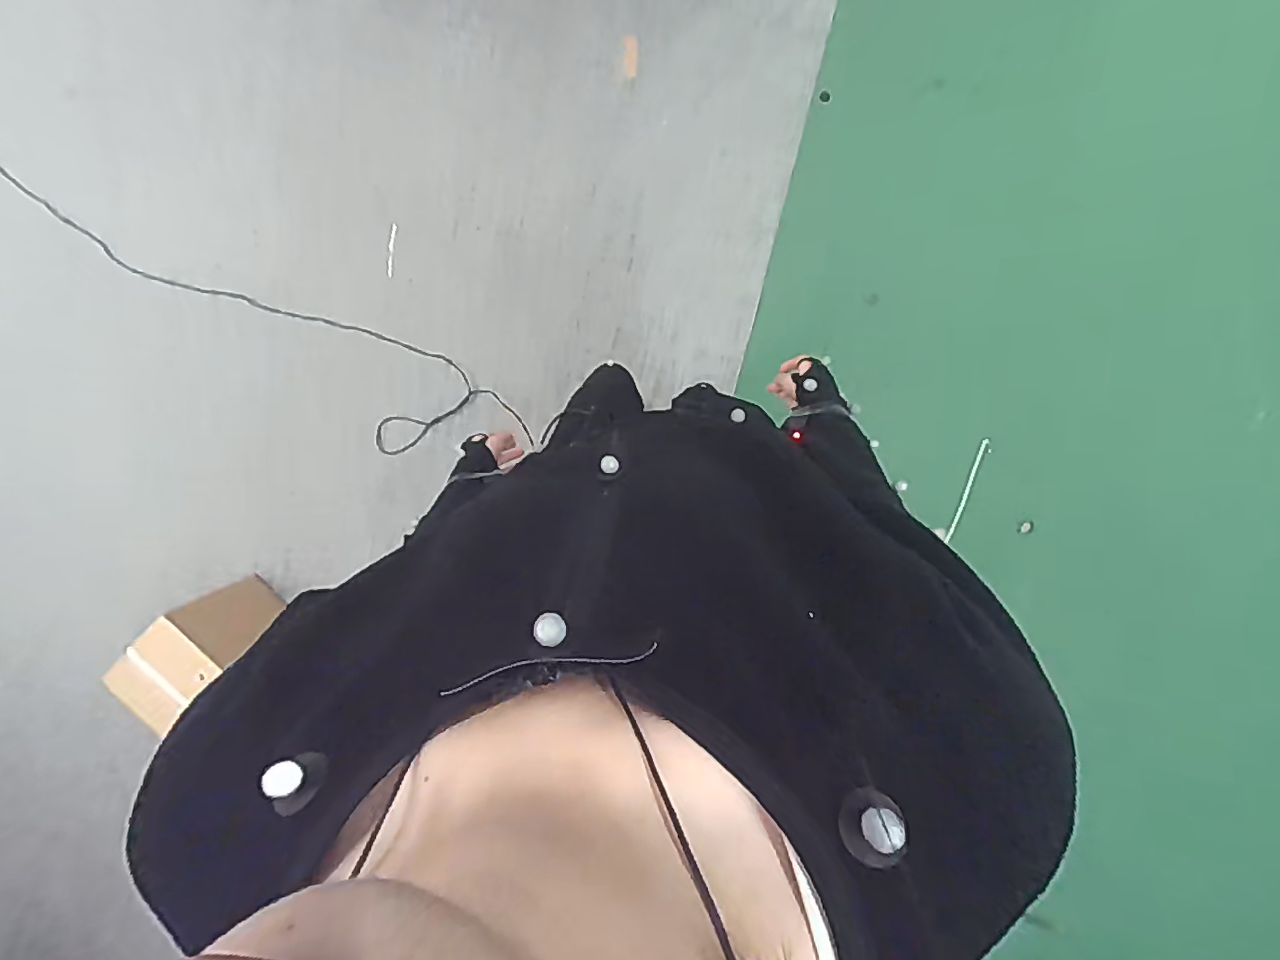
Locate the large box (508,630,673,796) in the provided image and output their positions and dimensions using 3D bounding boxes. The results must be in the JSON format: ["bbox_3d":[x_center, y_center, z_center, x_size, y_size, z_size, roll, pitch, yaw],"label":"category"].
[{"bbox_3d":[-0.115,0.624,1.496,0.408,0.320,0.320,-1,102,5],"label":"large box"}]
